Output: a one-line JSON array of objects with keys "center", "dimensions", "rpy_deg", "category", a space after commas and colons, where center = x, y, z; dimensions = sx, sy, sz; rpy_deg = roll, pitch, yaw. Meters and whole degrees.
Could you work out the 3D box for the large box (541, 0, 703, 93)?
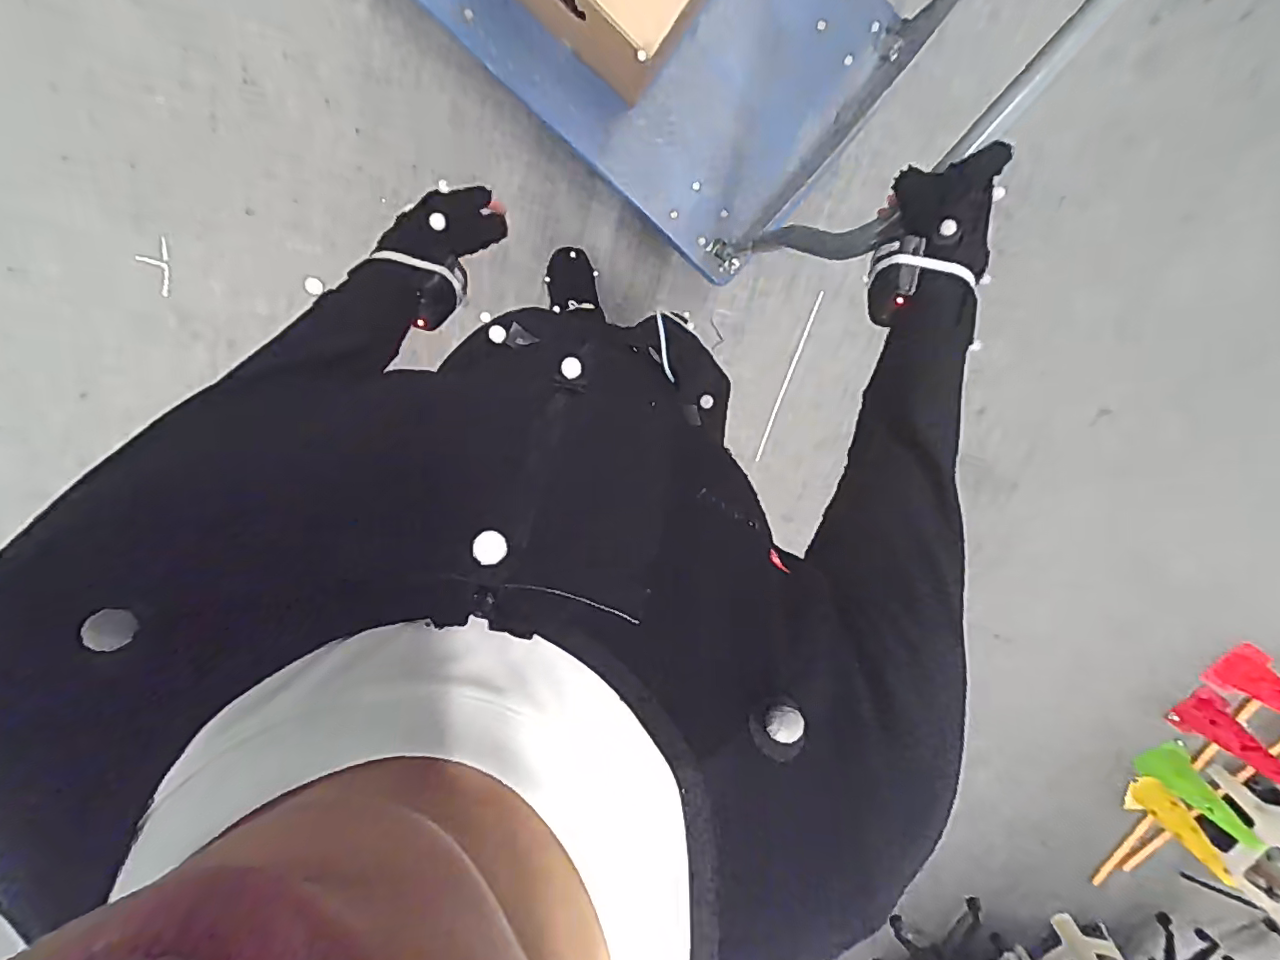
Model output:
[{"center": [0.015, -0.904, 0.806], "dimensions": [0.320, 0.320, 0.408], "rpy_deg": [35, 107, -18], "category": "large box"}]
